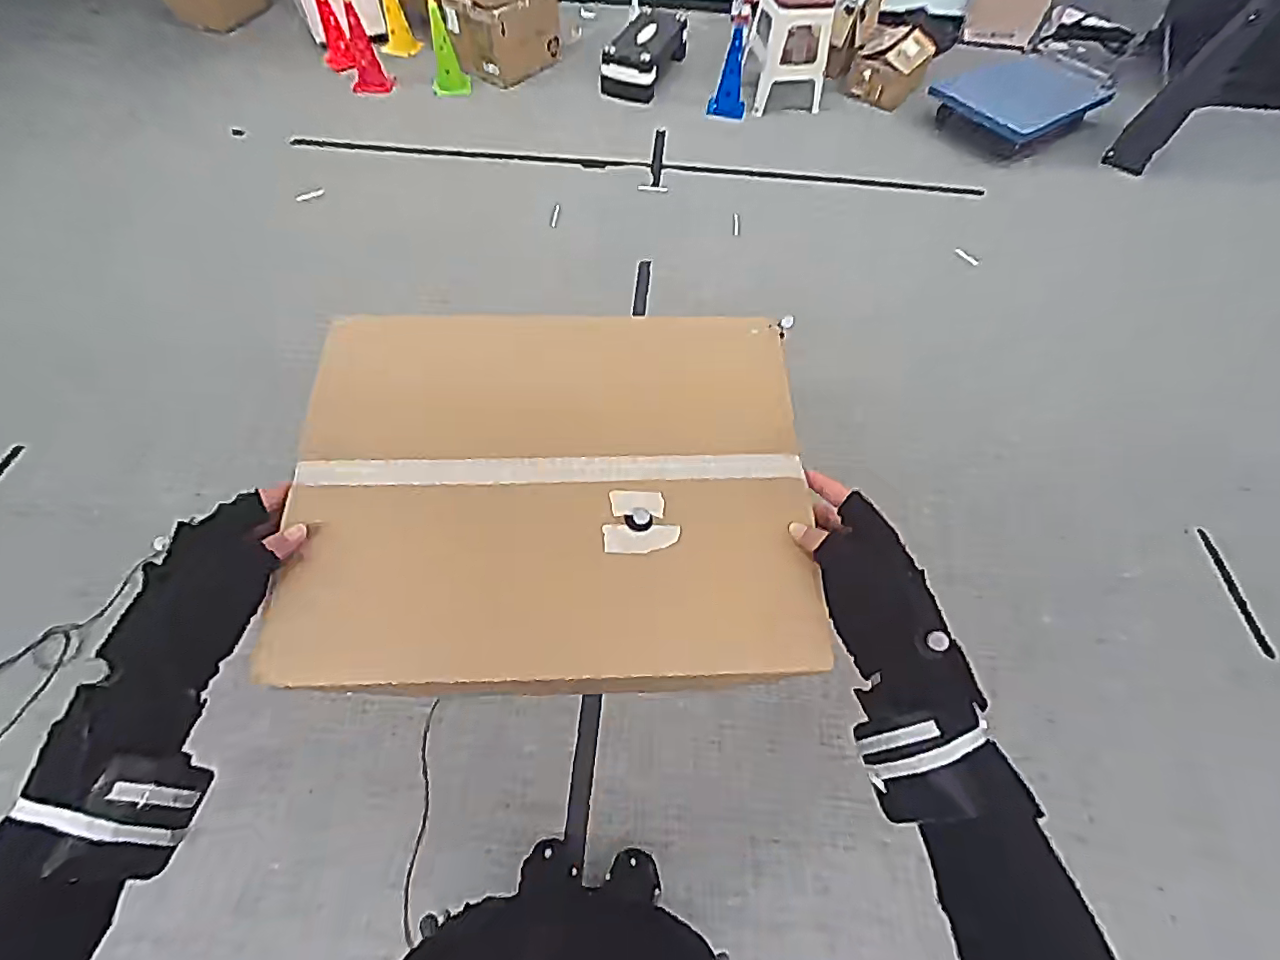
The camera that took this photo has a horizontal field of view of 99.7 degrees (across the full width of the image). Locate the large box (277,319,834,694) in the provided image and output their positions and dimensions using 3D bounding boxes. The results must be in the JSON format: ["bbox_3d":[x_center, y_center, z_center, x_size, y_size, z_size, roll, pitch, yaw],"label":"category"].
[{"bbox_3d":[-0.068,0.051,0.577,0.408,0.320,0.320,0,67,-3],"label":"large box"}]
